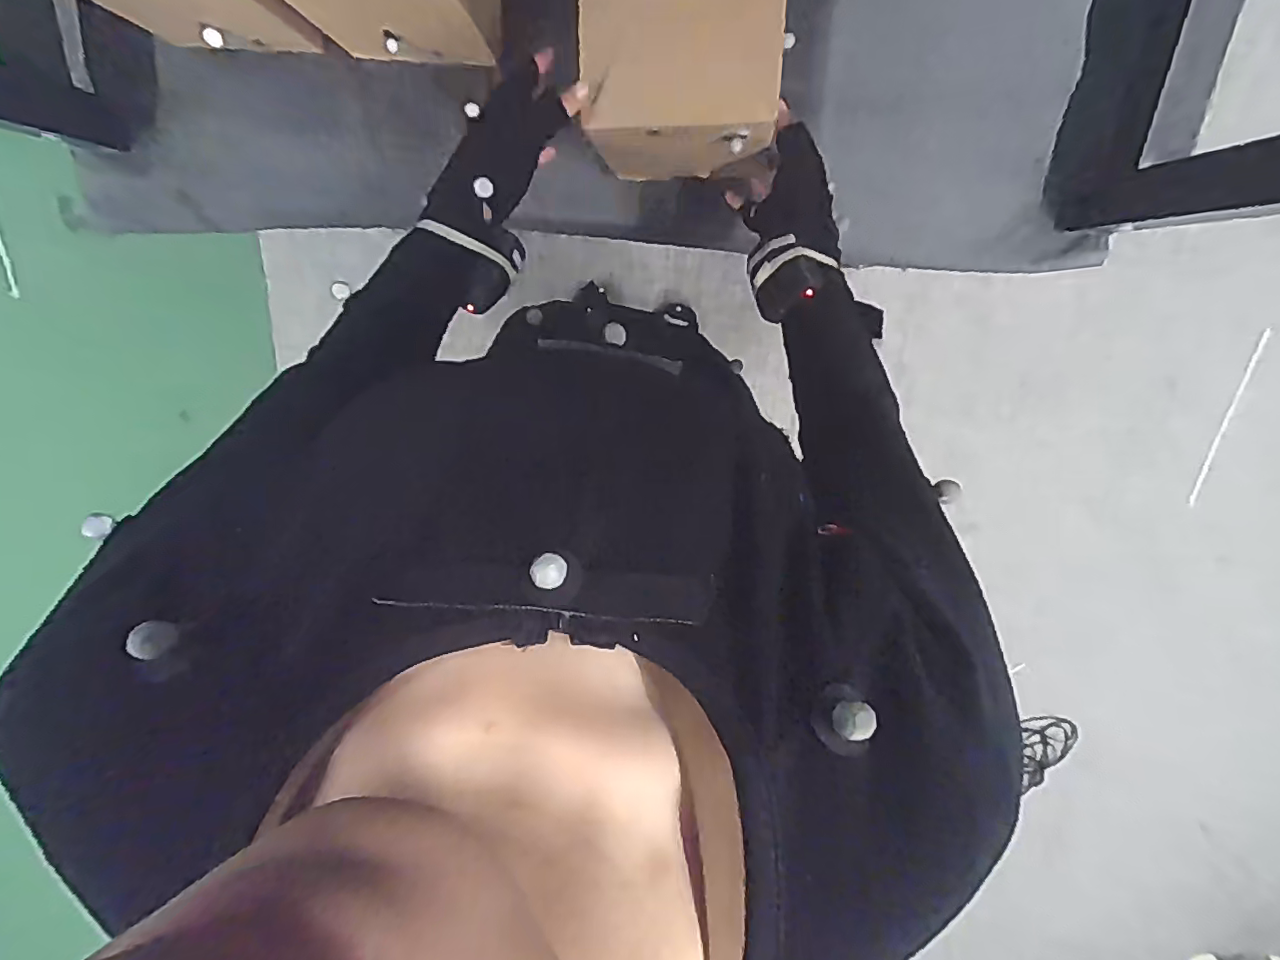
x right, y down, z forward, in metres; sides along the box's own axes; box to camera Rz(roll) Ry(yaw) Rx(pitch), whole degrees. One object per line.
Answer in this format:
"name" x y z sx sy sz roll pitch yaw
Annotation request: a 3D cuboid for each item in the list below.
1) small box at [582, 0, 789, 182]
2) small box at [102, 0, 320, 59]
"small box" 0.044 -0.397 0.500 0.168 0.176 0.179 3 106 8
"small box" -0.423 -0.521 0.486 0.168 0.176 0.179 3 109 1
